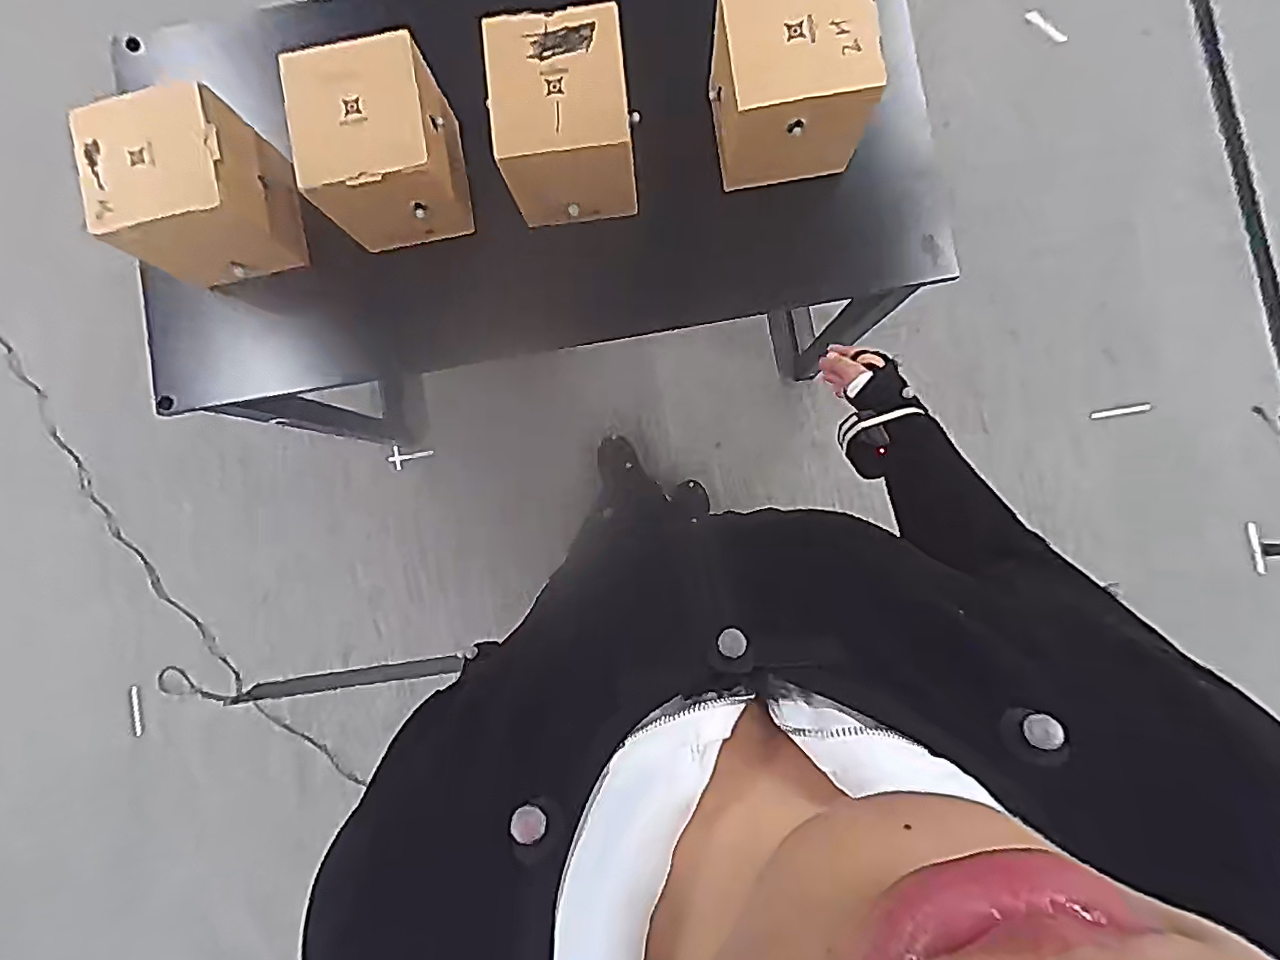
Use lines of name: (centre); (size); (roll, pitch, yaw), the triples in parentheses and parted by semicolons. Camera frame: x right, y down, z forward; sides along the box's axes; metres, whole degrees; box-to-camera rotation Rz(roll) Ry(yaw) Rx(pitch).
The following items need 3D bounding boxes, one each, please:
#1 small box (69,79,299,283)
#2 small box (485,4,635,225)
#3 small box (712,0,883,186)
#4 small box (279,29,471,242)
small box: (-0.601, -0.394, 0.741); (0.179, 0.176, 0.168); (-12, 87, 1)
small box: (-0.097, -0.473, 0.723); (0.168, 0.176, 0.179); (-5, 88, 2)
small box: (0.191, -0.518, 0.712); (0.179, 0.176, 0.168); (-7, 88, 3)
small box: (-0.345, -0.446, 0.734); (0.168, 0.176, 0.179); (-10, 87, 1)
